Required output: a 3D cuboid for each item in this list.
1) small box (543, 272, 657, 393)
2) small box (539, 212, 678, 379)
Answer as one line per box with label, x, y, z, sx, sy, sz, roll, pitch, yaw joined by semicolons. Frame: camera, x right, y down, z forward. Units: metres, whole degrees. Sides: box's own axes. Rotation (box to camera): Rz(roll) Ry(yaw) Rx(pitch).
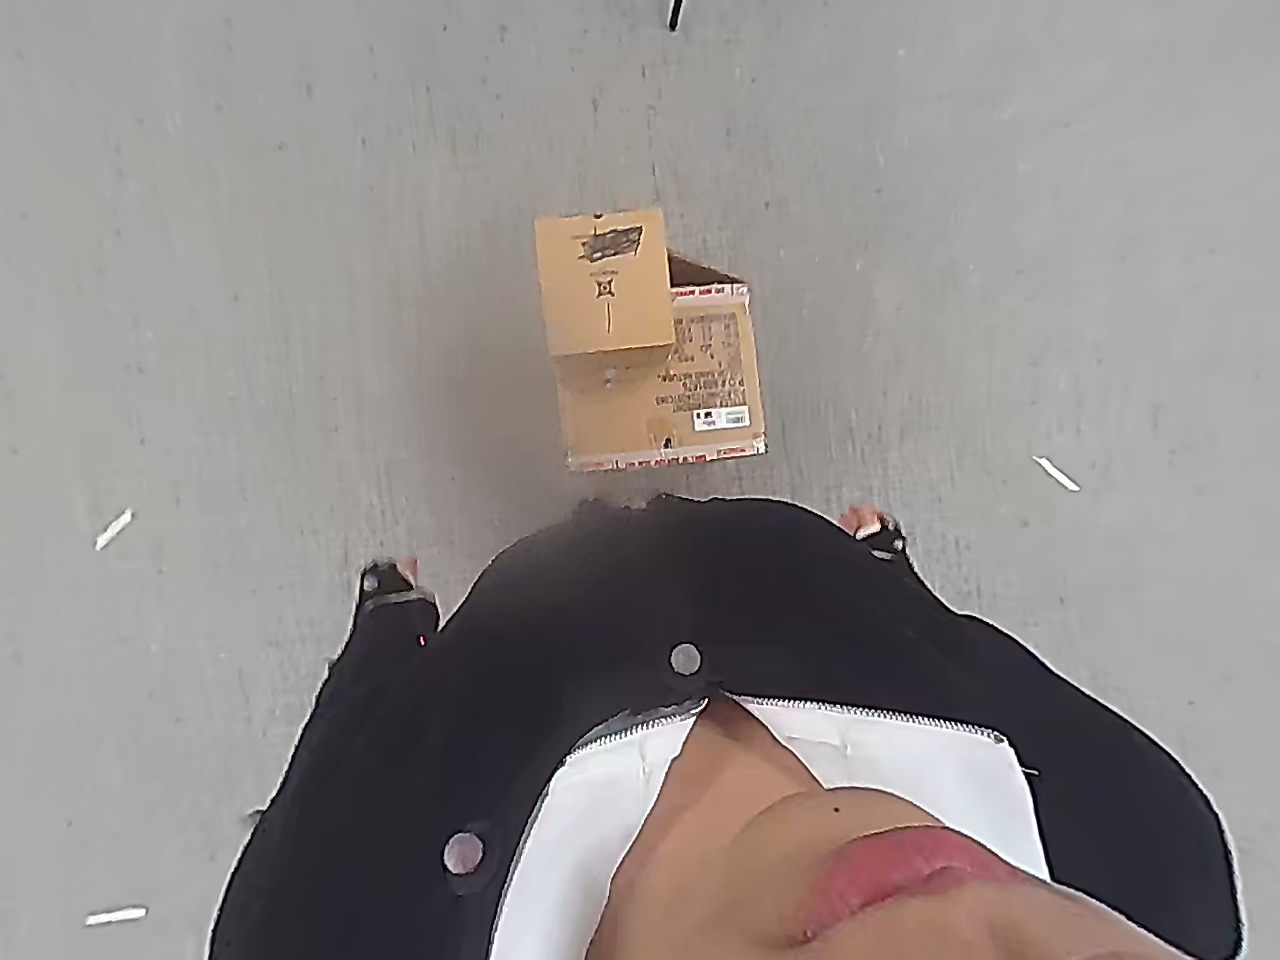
small box;-0.064;-0.256;0.930;0.168;0.176;0.179;-10;92;-1
small box;-0.043;-0.250;0.767;0.168;0.176;0.179;-6;93;-1
